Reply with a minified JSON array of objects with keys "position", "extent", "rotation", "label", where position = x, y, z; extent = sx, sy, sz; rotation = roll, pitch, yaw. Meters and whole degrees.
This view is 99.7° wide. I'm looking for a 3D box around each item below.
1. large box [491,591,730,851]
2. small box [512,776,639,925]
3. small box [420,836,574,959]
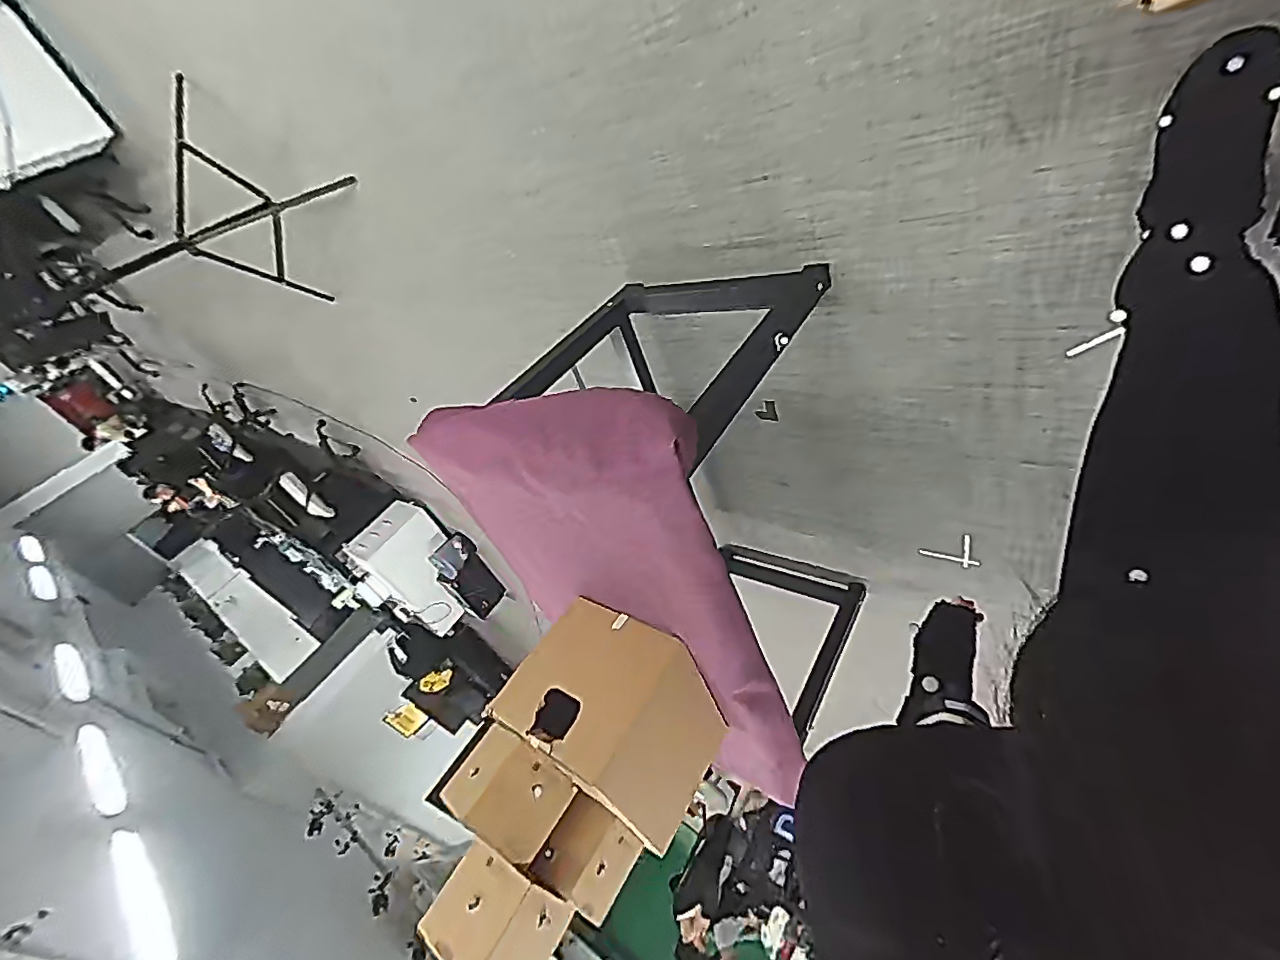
[{"position":[-0.042,0.521,1.204],"extent":[0.320,0.320,0.408],"rotation":[10,138,38],"label":"large box"},{"position":[-0.123,0.759,1.123],"extent":[0.179,0.176,0.168],"rotation":[11,138,41],"label":"small box"},{"position":[-0.255,0.800,0.995],"extent":[0.168,0.176,0.179],"rotation":[9,139,41],"label":"small box"}]
